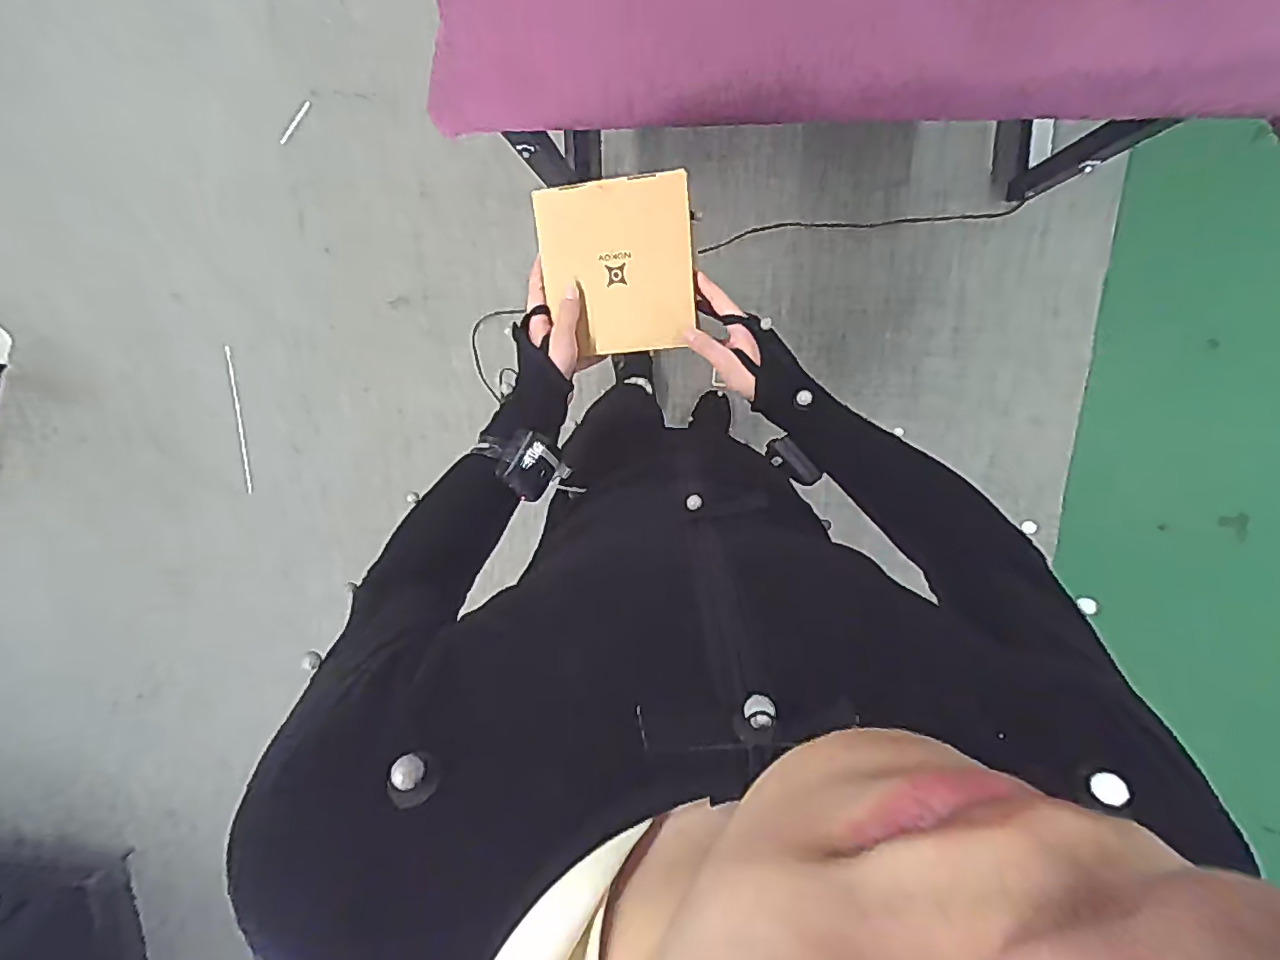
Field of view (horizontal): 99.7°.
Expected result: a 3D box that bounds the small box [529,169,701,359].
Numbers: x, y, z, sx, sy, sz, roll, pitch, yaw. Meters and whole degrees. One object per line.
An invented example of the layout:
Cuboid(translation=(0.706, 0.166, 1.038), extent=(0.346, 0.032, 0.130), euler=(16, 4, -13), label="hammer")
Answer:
Cuboid(translation=(-0.016, -0.247, 0.648), extent=(0.168, 0.176, 0.179), euler=(-3, 106, 9), label="small box")
